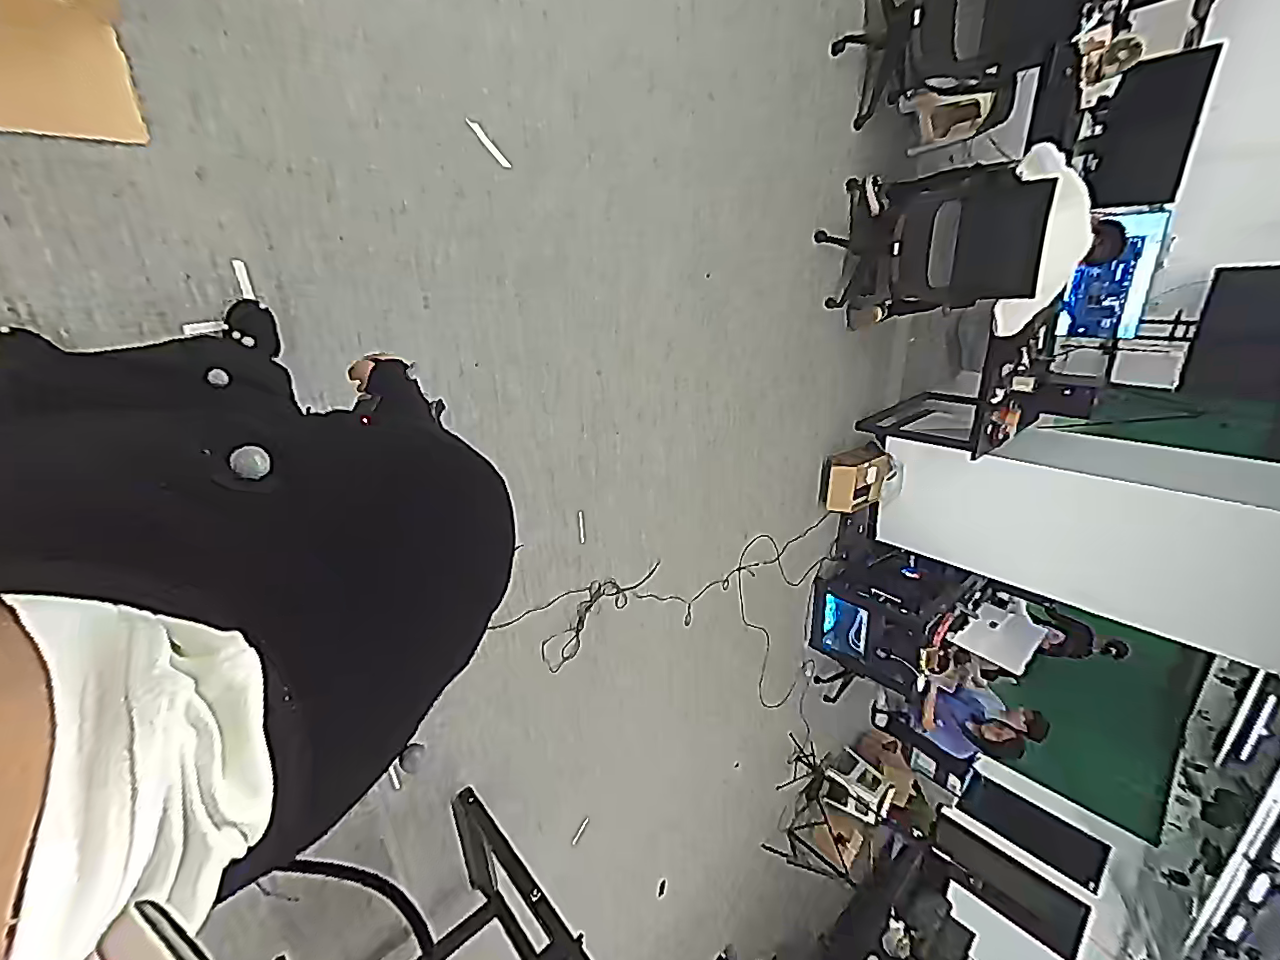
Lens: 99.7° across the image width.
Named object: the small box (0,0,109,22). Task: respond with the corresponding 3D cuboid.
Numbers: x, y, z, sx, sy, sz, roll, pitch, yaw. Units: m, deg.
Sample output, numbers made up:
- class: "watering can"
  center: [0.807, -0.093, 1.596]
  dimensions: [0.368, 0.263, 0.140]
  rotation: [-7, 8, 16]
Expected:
- class: "small box"
  center: [-1.030, -0.891, 0.893]
  dimensions: [0.179, 0.176, 0.168]
  rotation: [-29, 123, -34]
